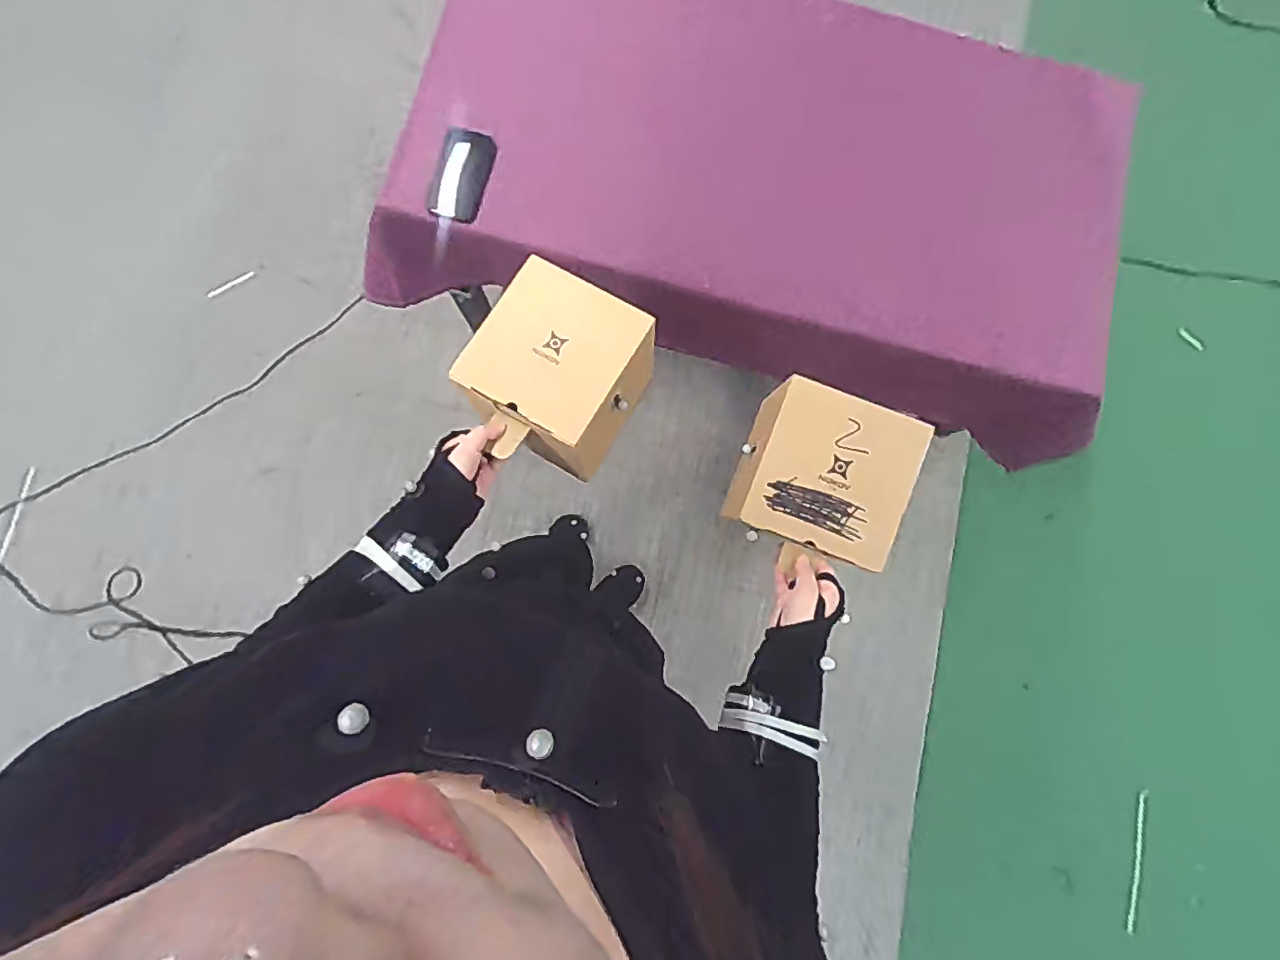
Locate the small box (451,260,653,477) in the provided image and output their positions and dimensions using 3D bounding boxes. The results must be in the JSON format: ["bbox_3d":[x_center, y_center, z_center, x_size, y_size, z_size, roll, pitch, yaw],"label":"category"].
[{"bbox_3d":[-0.100,-0.127,0.679,0.168,0.176,0.179,30,79,6],"label":"small box"}]
